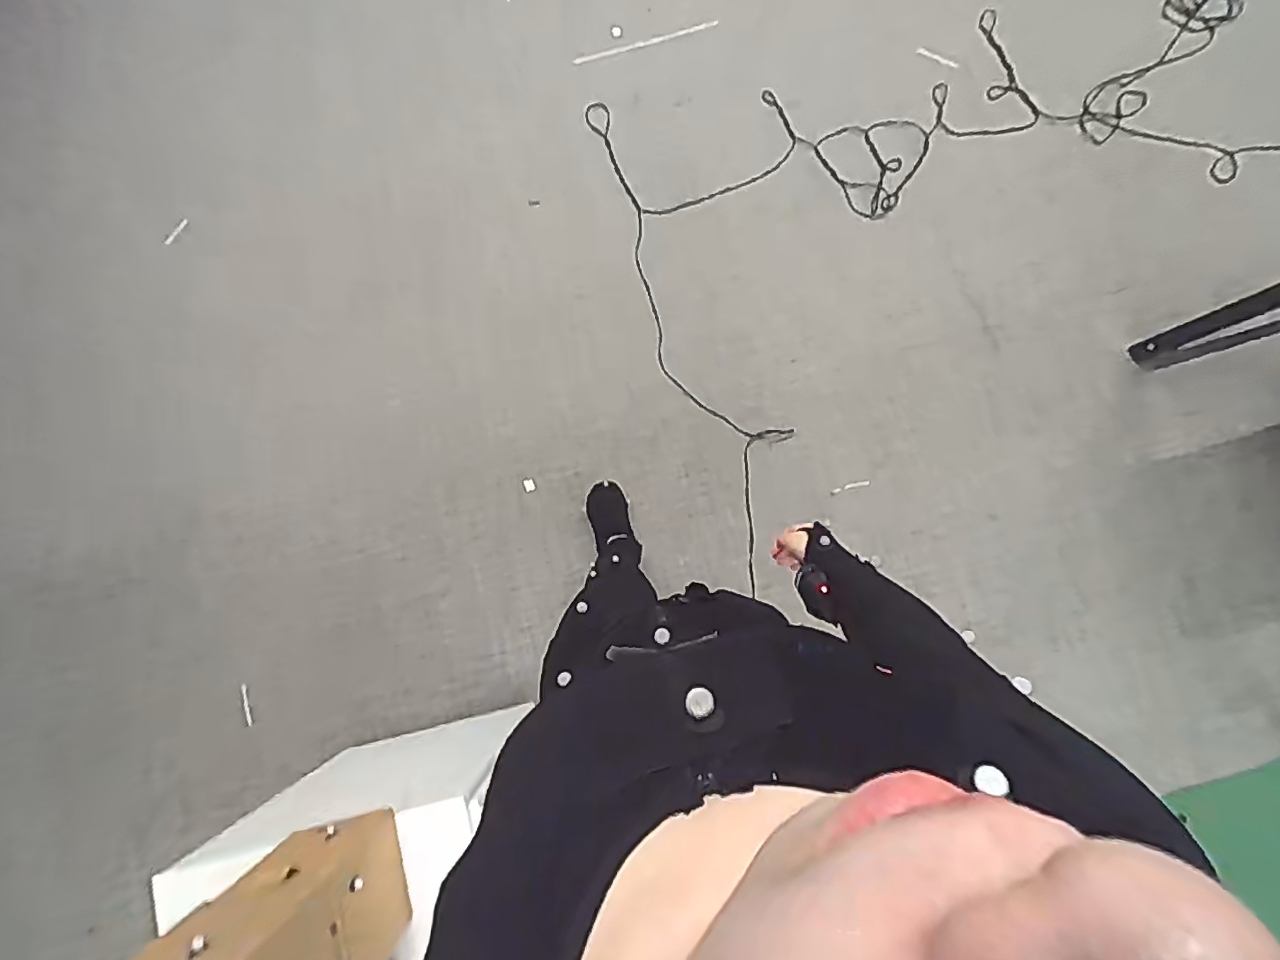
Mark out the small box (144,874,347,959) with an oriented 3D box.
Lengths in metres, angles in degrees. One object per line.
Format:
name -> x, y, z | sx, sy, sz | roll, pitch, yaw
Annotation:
small box -> -0.455, 0.588, 0.610 | 0.179, 0.176, 0.168 | -13, 83, 0
